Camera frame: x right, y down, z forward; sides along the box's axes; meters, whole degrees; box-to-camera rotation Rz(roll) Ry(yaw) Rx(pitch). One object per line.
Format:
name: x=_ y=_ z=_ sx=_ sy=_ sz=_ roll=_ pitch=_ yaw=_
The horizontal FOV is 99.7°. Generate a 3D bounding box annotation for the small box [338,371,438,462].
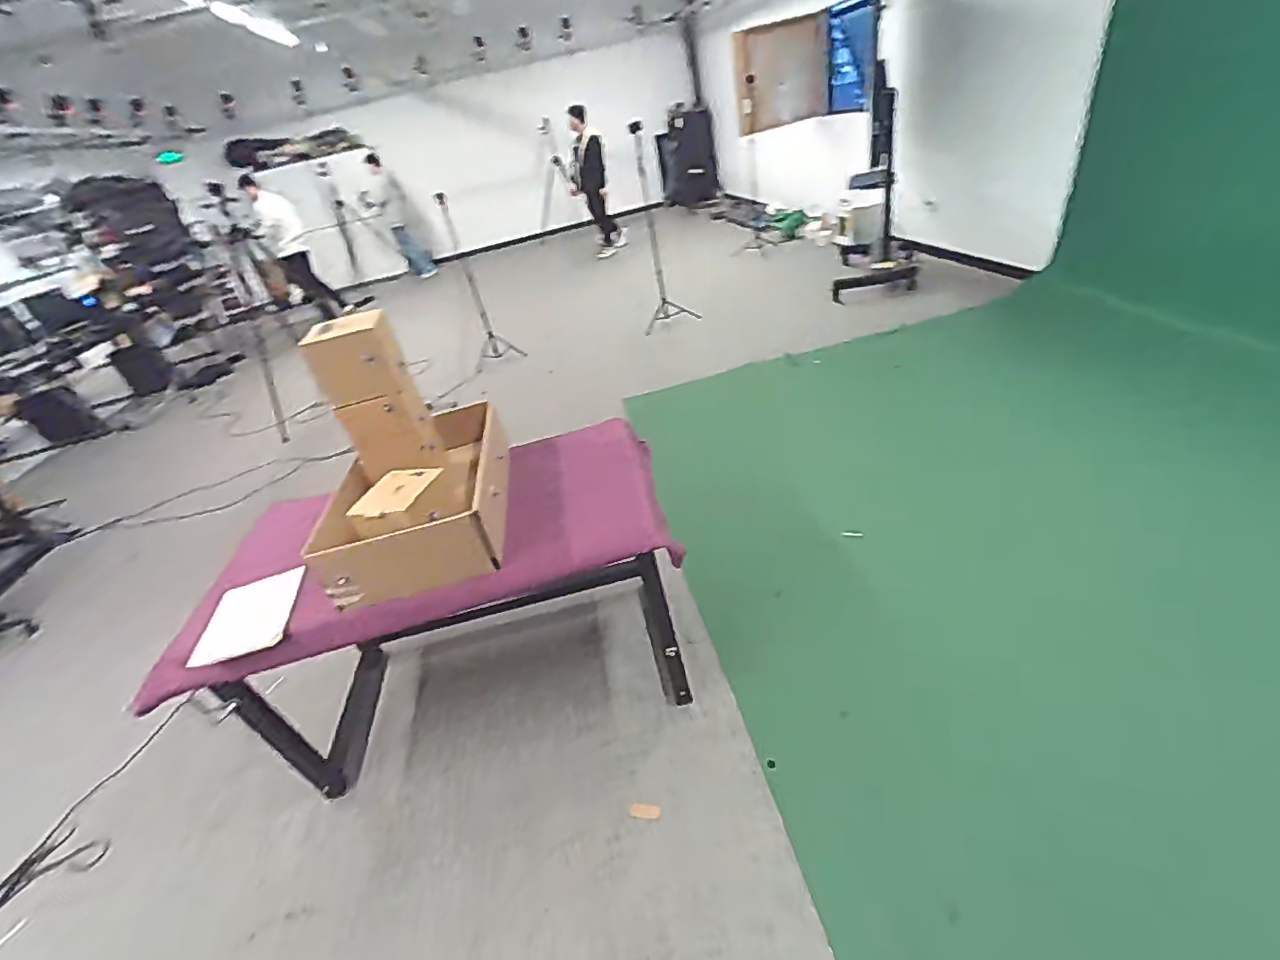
small box: x=-0.675 y=-0.169 z=1.467 sx=0.179 sy=0.176 sz=0.168 roll=-16 pitch=35 yaw=-3

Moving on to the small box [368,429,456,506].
small box: x=-0.649 y=-0.041 z=1.561 sx=0.168 sy=0.176 sz=0.179 roll=-14 pitch=35 yaw=-1
